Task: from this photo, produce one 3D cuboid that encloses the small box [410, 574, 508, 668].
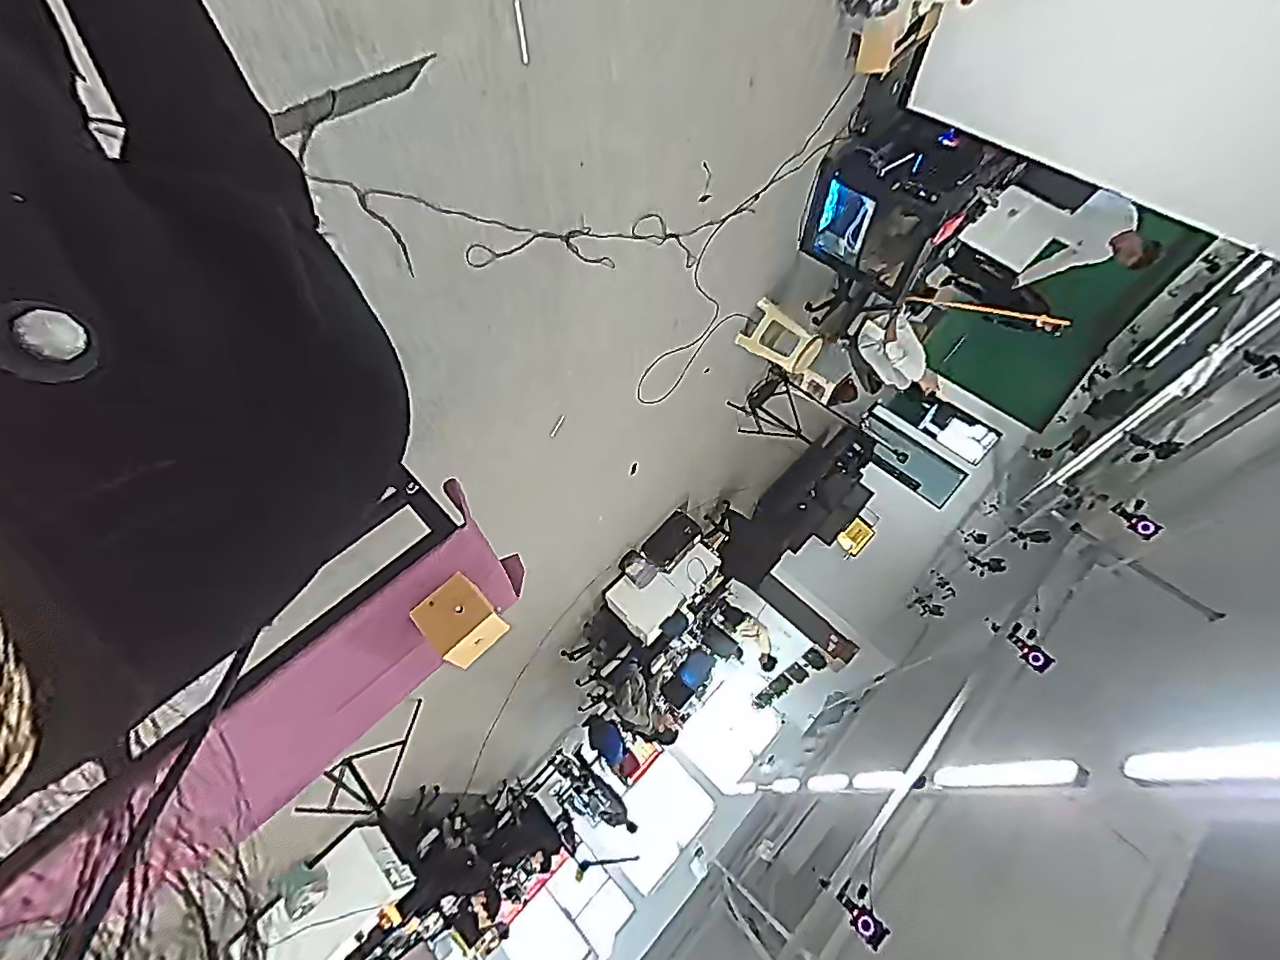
[{"bbox_3d":[-0.502,0.388,1.499,0.168,0.176,0.179,-42,158,-17],"label":"small box"}]
